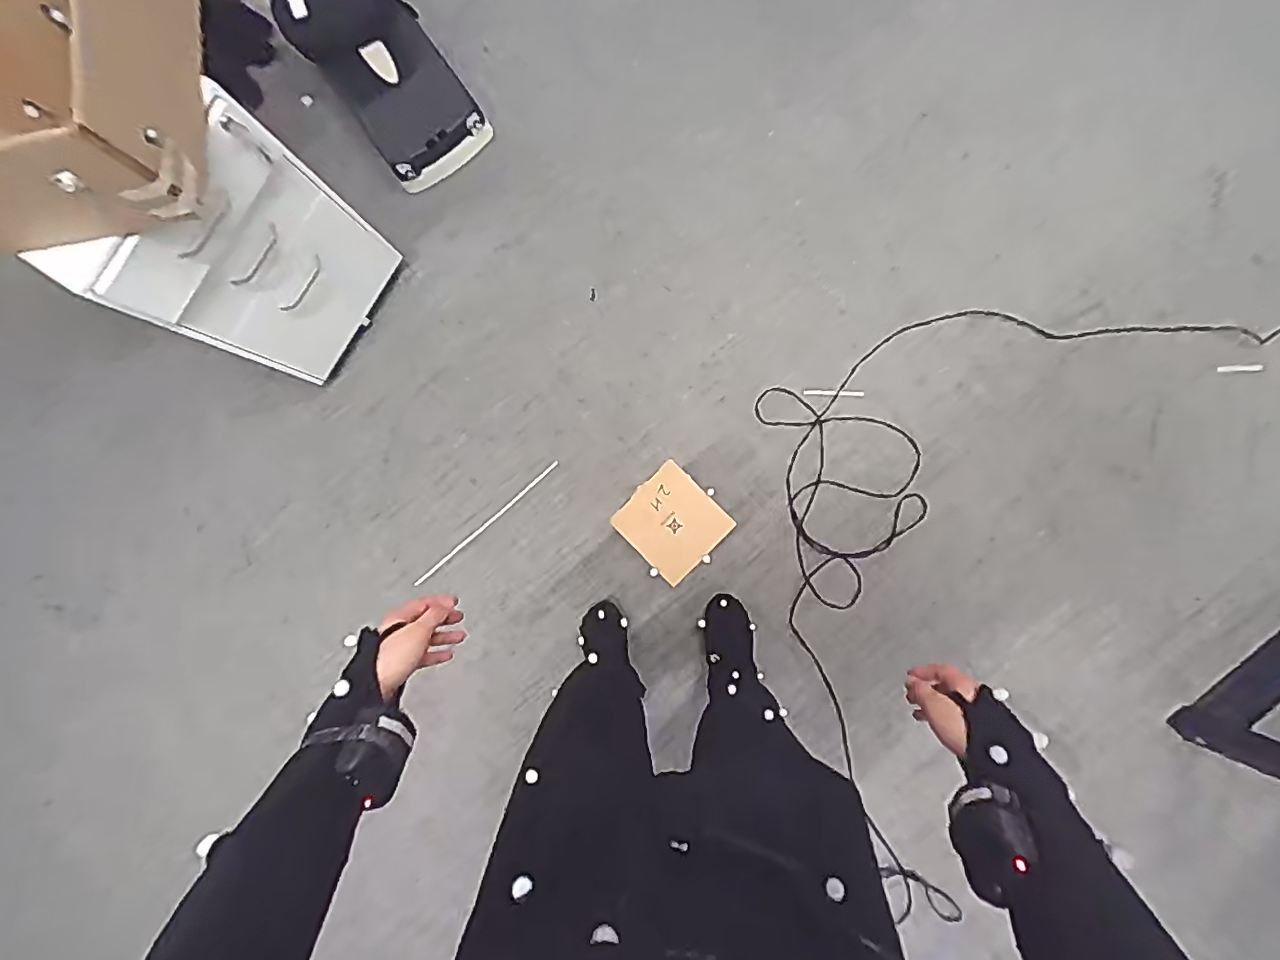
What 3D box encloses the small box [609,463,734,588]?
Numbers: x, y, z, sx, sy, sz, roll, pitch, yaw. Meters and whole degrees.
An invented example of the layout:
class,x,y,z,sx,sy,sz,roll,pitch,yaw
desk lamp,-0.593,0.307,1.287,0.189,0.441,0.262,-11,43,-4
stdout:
class,x,y,z,sx,sy,sz,roll,pitch,yaw
small box,0.066,0.087,1.074,0.168,0.176,0.179,-45,82,1
